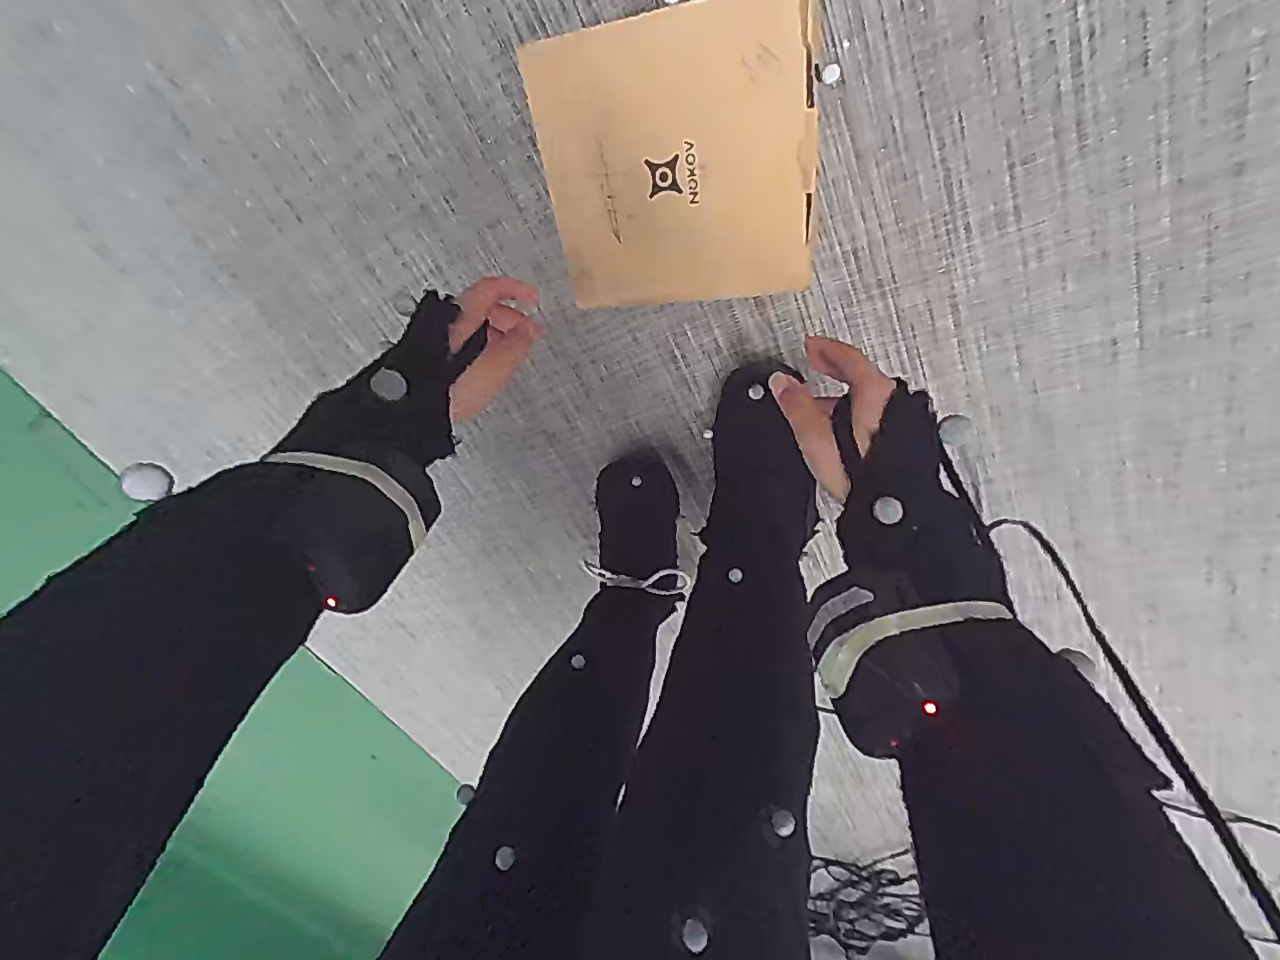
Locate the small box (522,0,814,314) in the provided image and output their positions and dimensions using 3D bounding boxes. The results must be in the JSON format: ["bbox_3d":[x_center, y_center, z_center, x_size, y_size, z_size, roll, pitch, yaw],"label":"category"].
[{"bbox_3d":[0.042,-0.242,0.416,0.179,0.176,0.168,1,125,19],"label":"small box"}]
